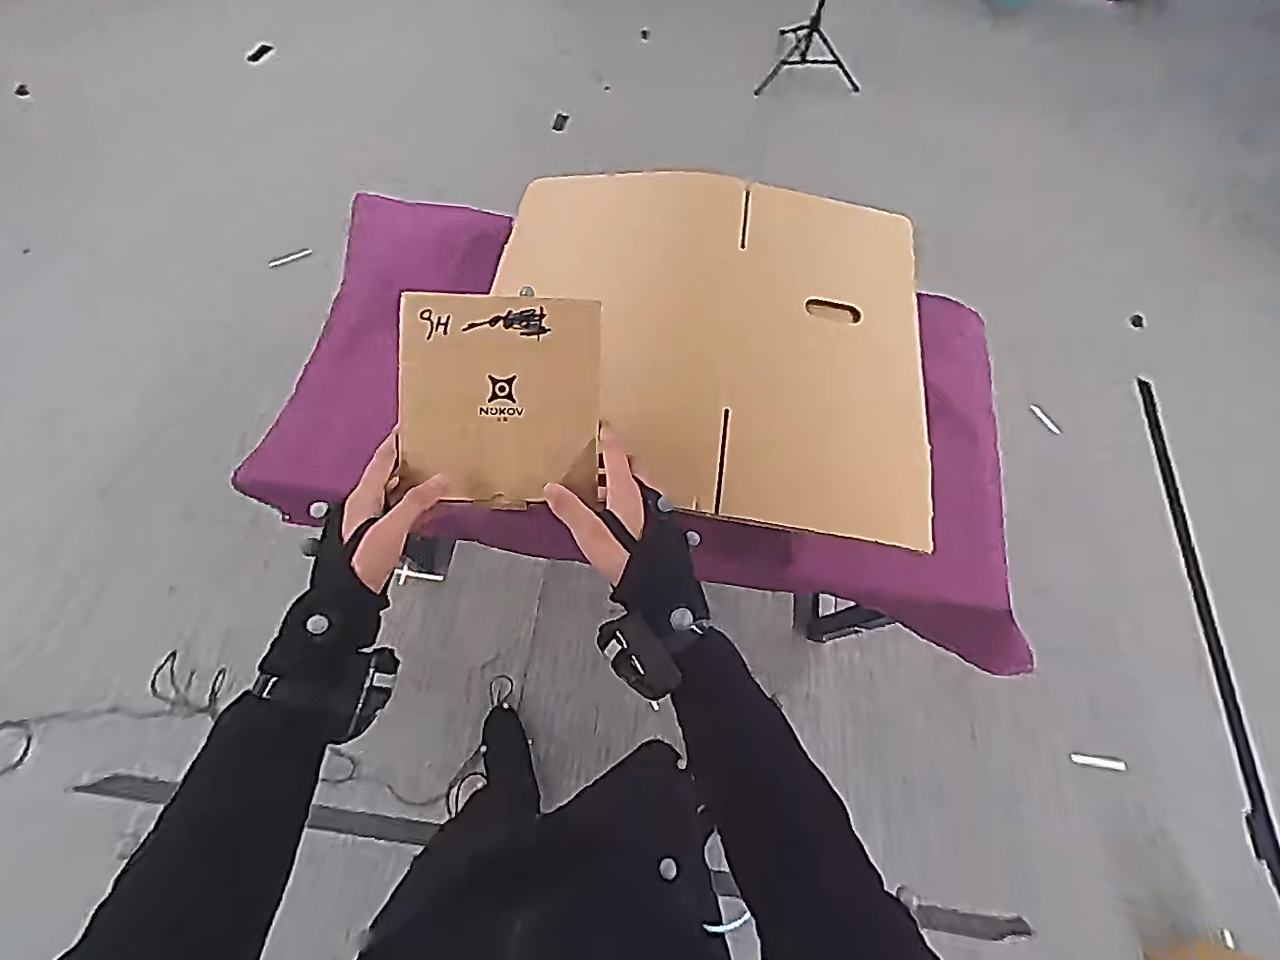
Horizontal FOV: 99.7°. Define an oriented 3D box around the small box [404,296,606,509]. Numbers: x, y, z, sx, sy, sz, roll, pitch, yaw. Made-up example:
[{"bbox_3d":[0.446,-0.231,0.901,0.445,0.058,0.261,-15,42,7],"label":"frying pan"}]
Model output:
[{"bbox_3d":[-0.120,-0.067,0.540,0.168,0.176,0.179,2,91,-4],"label":"small box"}]
